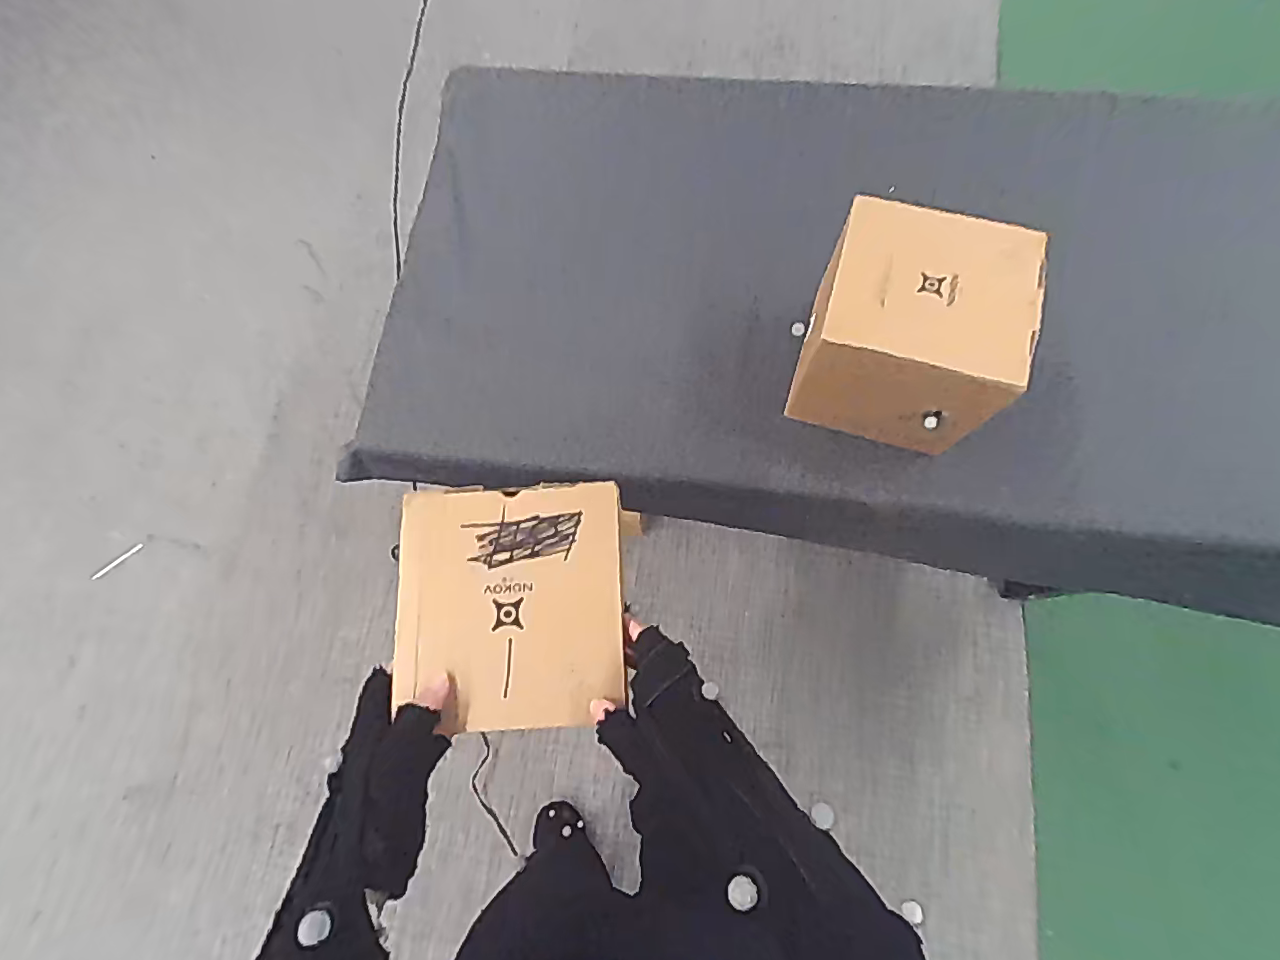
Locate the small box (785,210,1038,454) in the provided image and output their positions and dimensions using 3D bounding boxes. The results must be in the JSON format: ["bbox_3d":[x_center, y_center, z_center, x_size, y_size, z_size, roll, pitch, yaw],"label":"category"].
[{"bbox_3d":[0.268,-0.142,0.567,0.179,0.176,0.168,15,73,9],"label":"small box"}]

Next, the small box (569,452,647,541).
[{"bbox_3d":[-0.072,0.045,1.289,0.168,0.176,0.179,3,73,4],"label":"small box"}]

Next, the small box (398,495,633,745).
[{"bbox_3d":[-0.093,0.121,0.478,0.168,0.176,0.179,-3,74,-2],"label":"small box"}]
